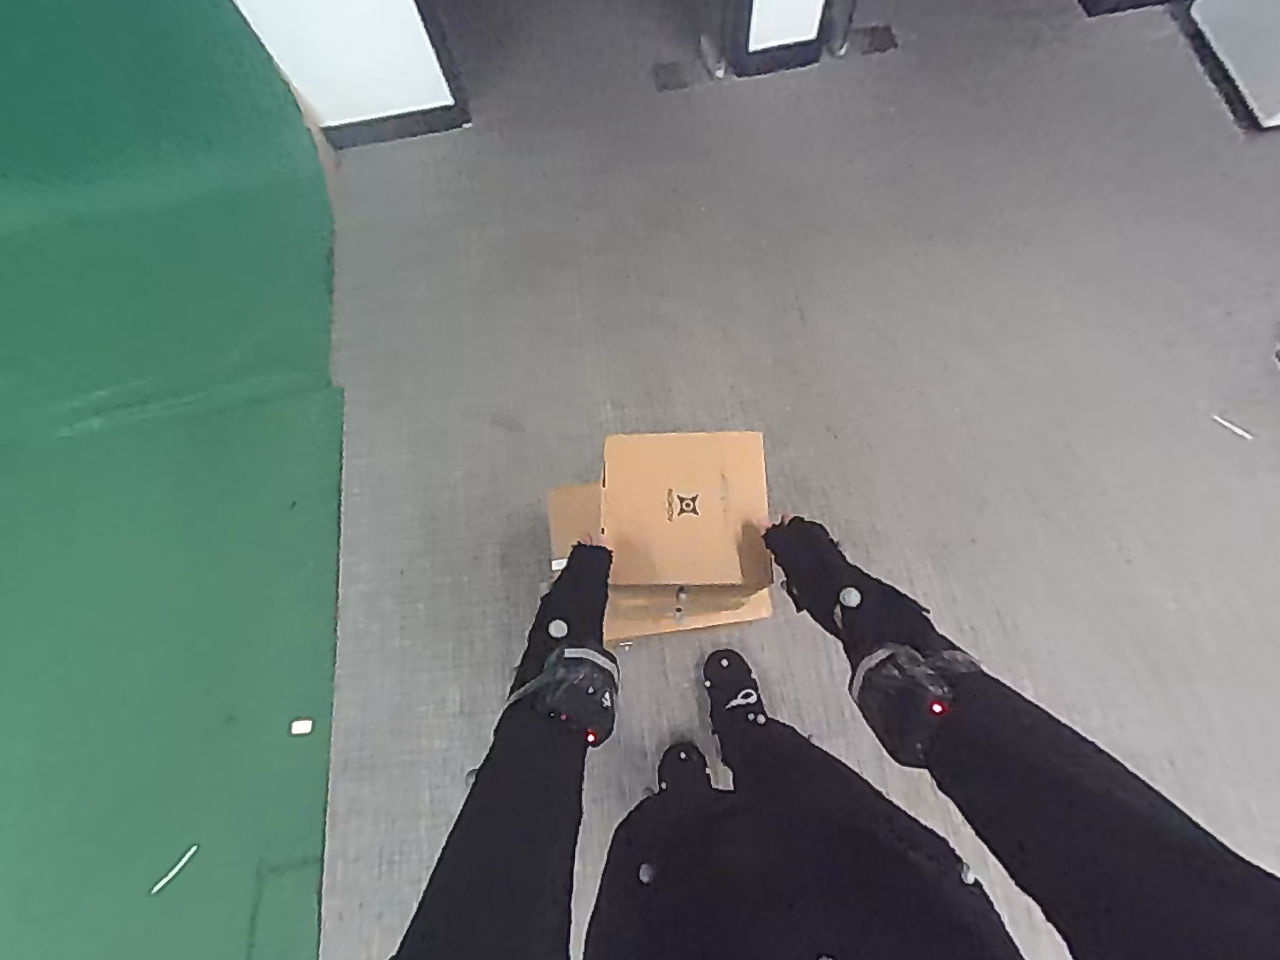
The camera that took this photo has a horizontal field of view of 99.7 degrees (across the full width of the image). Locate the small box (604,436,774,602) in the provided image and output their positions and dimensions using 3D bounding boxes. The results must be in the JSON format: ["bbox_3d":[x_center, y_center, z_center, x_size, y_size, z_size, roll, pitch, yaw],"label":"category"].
[{"bbox_3d":[0.052,0.056,0.648,0.179,0.176,0.168,-2,73,1],"label":"small box"}]

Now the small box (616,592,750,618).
[{"bbox_3d":[0.058,0.113,0.798,0.179,0.176,0.168,-3,72,3],"label":"small box"}]
